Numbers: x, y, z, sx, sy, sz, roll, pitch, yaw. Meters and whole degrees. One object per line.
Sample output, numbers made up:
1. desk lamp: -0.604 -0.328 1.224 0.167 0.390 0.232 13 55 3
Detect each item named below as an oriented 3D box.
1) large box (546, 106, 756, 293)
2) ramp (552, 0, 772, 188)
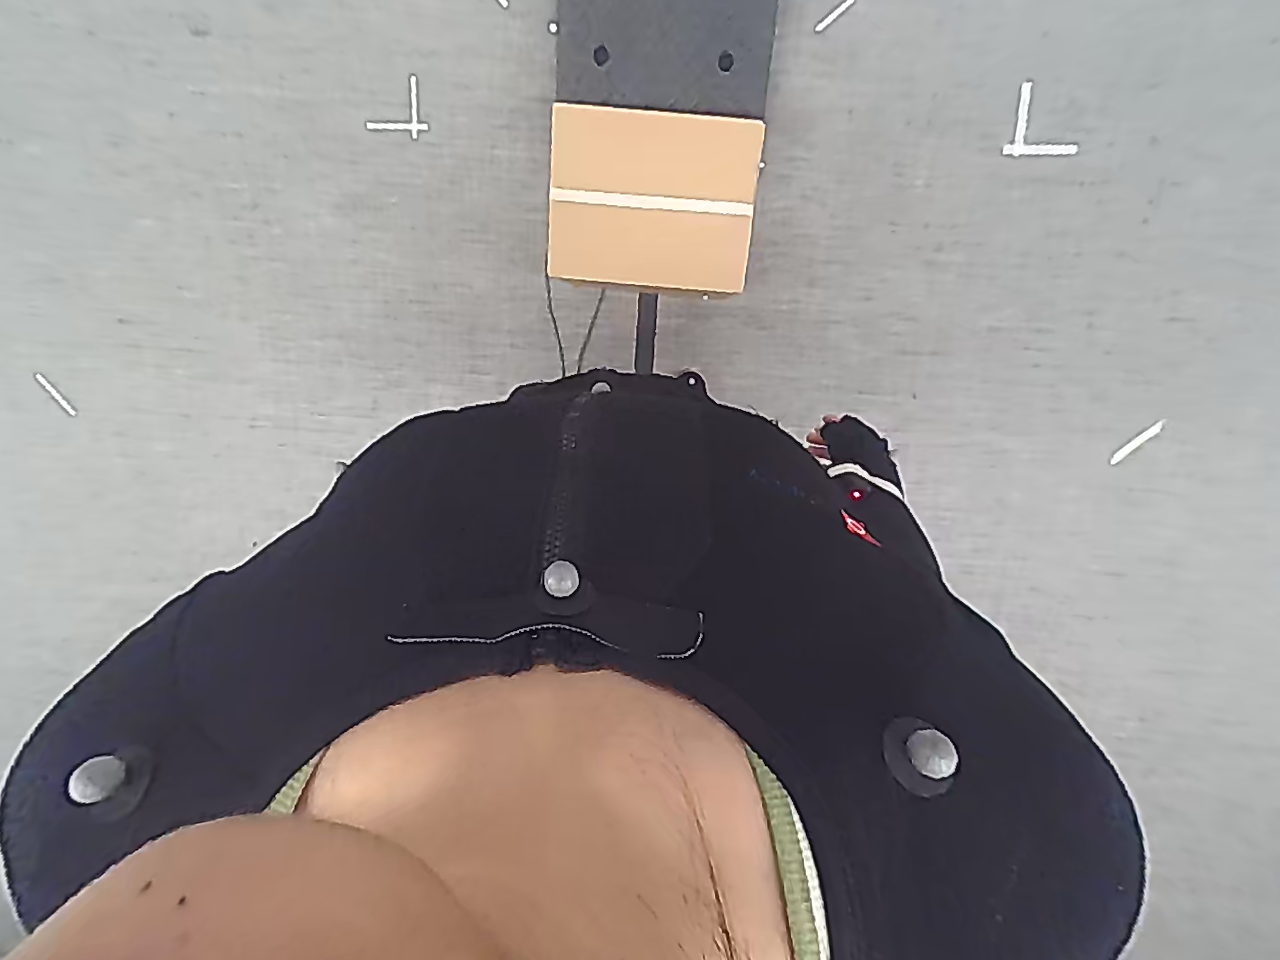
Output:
1. large box: 0.019 -0.596 1.212 0.408 0.320 0.320 5 106 0
2. ramp: 0.055 -1.166 1.159 0.509 0.206 0.991 1 102 -1
